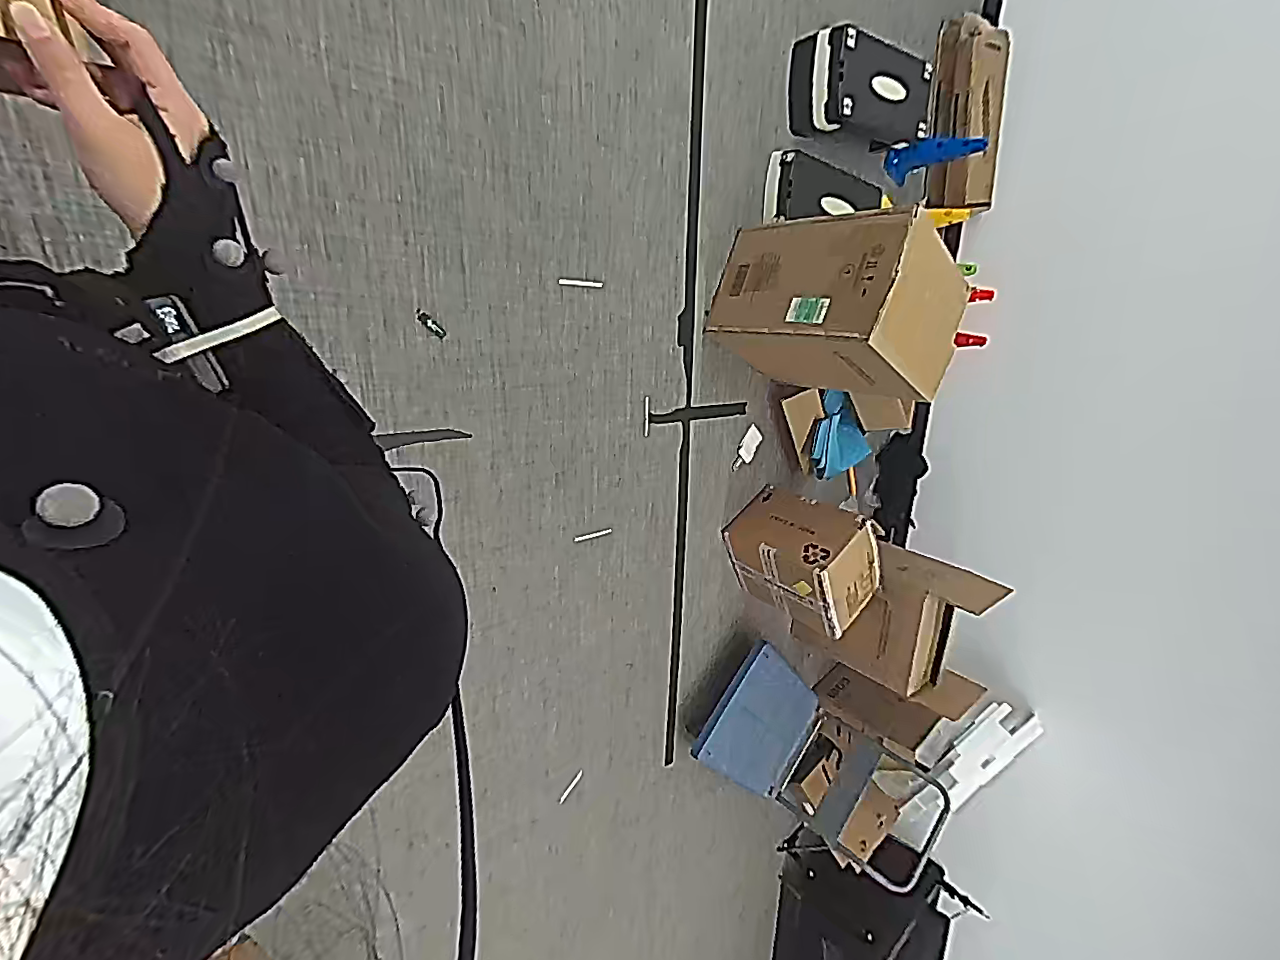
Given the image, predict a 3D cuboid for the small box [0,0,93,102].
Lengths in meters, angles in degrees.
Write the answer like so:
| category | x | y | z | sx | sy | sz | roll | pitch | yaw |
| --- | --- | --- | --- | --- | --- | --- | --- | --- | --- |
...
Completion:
| category | x | y | z | sx | sy | sz | roll | pitch | yaw |
| --- | --- | --- | --- | --- | --- | --- | --- | --- | --- |
| small box | -0.406 | -0.306 | 0.256 | 0.179 | 0.176 | 0.168 | -12 | 116 | -38 |
